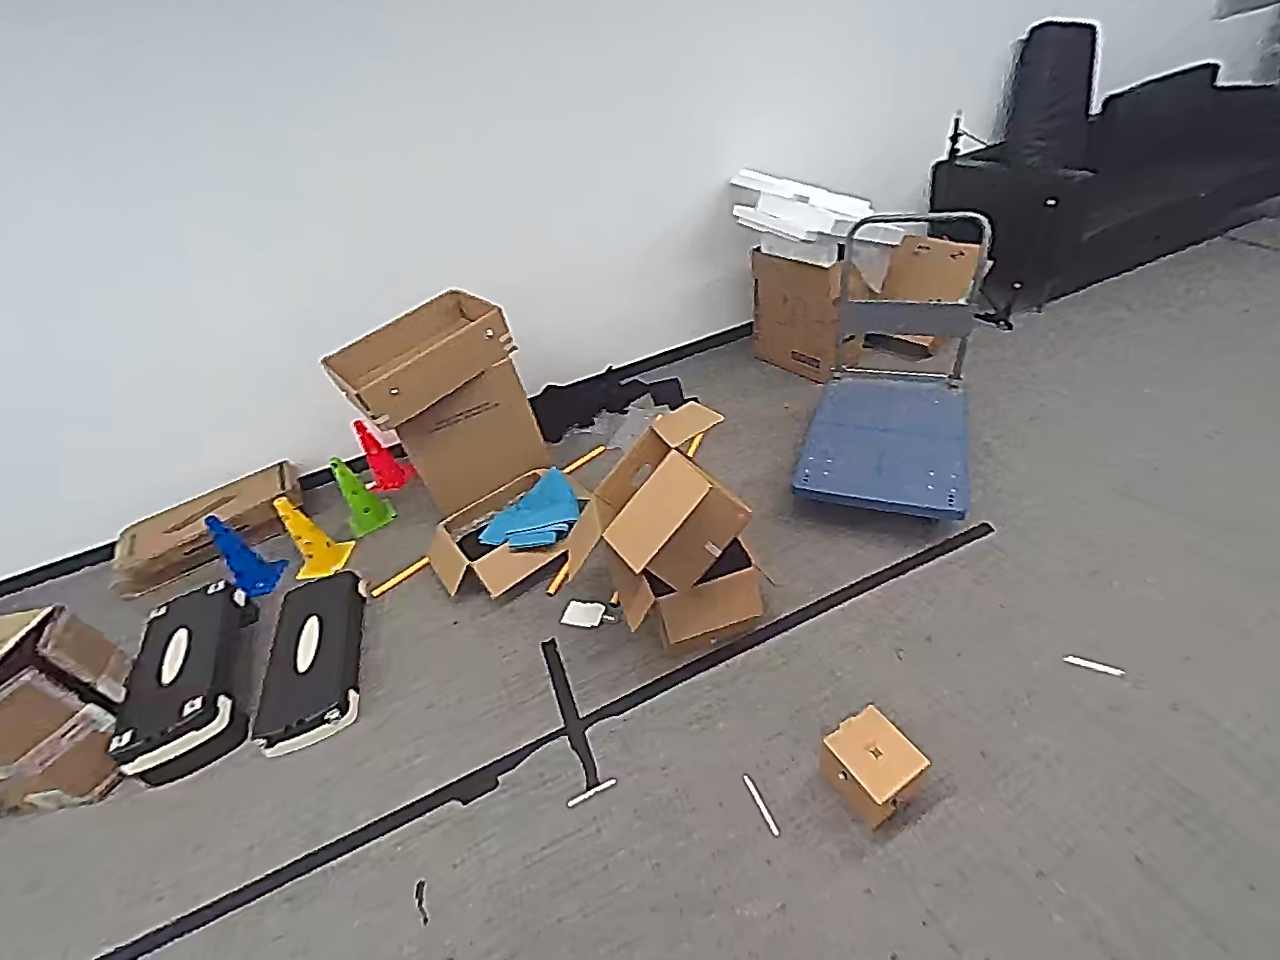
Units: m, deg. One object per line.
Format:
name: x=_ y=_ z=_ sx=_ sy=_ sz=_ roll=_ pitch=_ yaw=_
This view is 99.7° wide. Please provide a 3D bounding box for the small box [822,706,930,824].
small box: x=0.568 y=0.702 z=1.320 sx=0.168 sy=0.176 sz=0.179 roll=-26 pitch=40 yaw=-17
